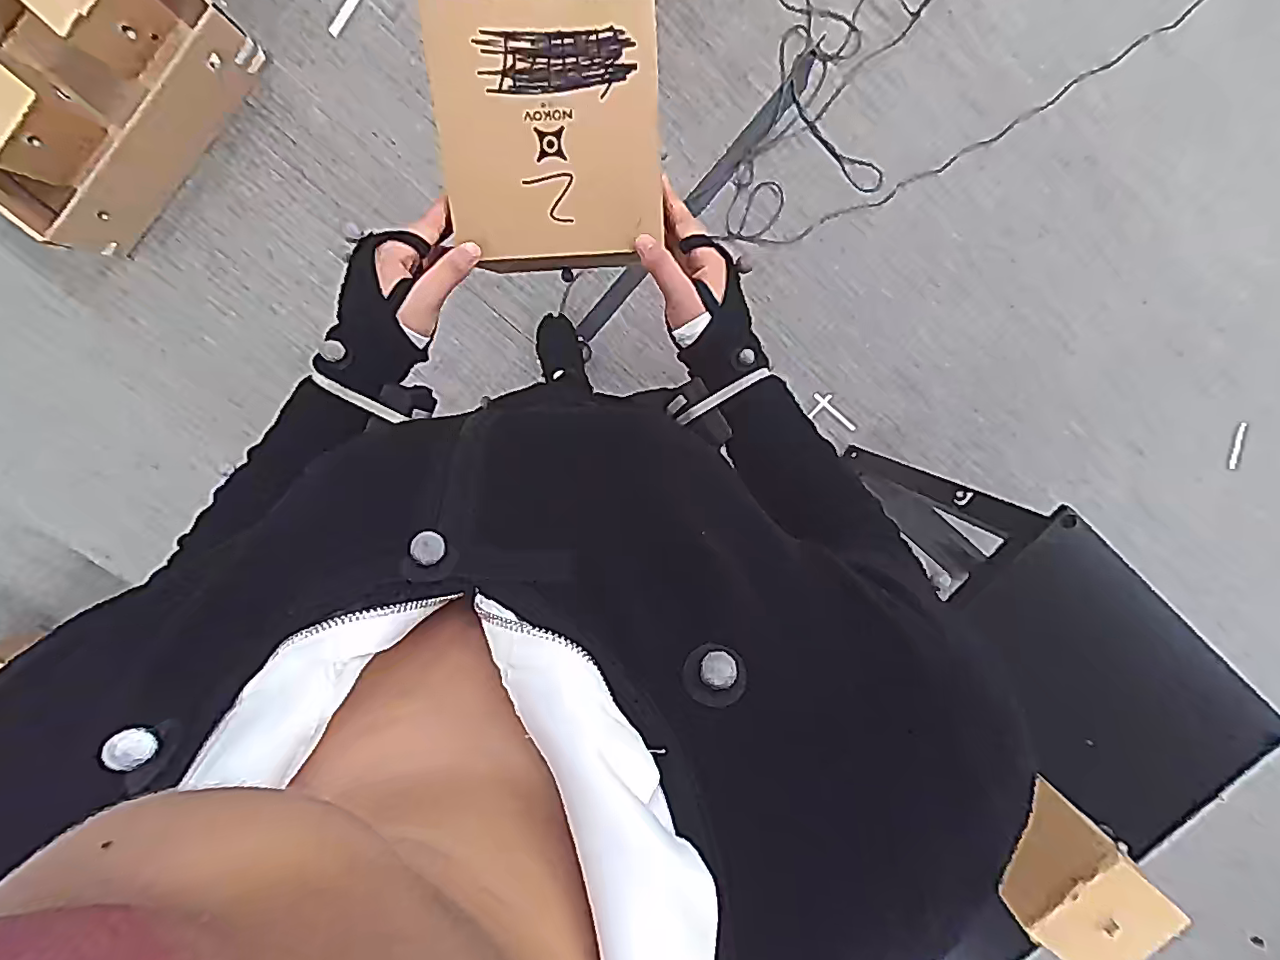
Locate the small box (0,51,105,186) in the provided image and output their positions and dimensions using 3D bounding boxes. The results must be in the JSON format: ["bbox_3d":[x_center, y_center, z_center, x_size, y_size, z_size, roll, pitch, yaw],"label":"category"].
[{"bbox_3d":[-1.297,-0.757,1.128,0.168,0.176,0.179,41,96,-13],"label":"small box"}]

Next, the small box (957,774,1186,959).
[{"bbox_3d":[0.642,0.599,0.827,0.179,0.176,0.168,41,97,-10],"label":"small box"}]

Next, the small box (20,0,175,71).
[{"bbox_3d":[-1.111,-0.977,1.090,0.168,0.176,0.179,-45,103,7],"label":"small box"}]
